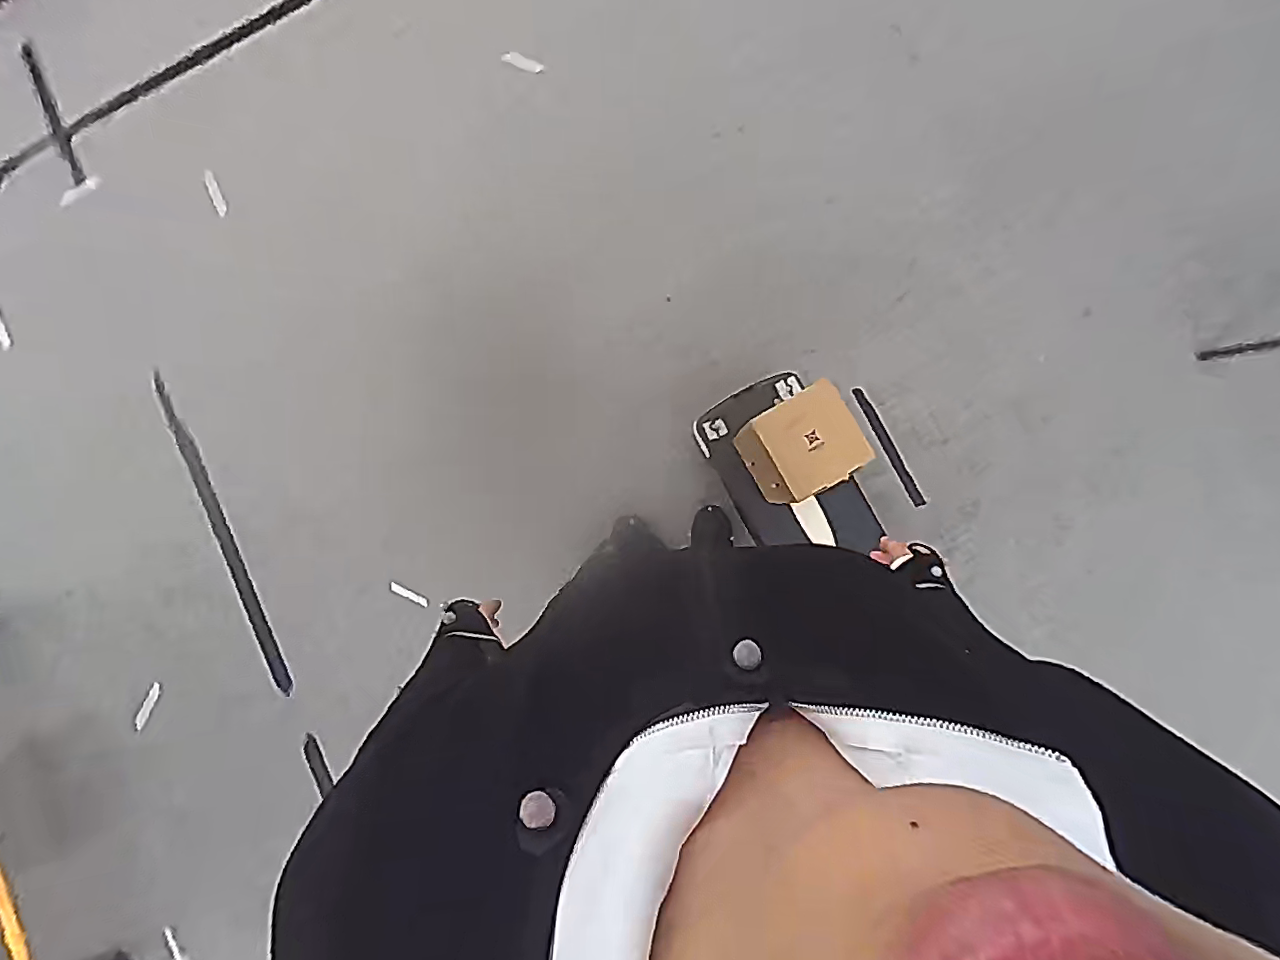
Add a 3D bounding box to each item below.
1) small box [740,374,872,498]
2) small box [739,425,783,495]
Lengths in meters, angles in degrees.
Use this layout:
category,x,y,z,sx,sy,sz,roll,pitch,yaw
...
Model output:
category,x,y,z,sx,sy,sz,roll,pitch,yaw
small box,0.314,-0.079,1.061,0.168,0.176,0.179,-30,86,2
small box,0.327,-0.074,1.224,0.168,0.176,0.179,-30,86,3
